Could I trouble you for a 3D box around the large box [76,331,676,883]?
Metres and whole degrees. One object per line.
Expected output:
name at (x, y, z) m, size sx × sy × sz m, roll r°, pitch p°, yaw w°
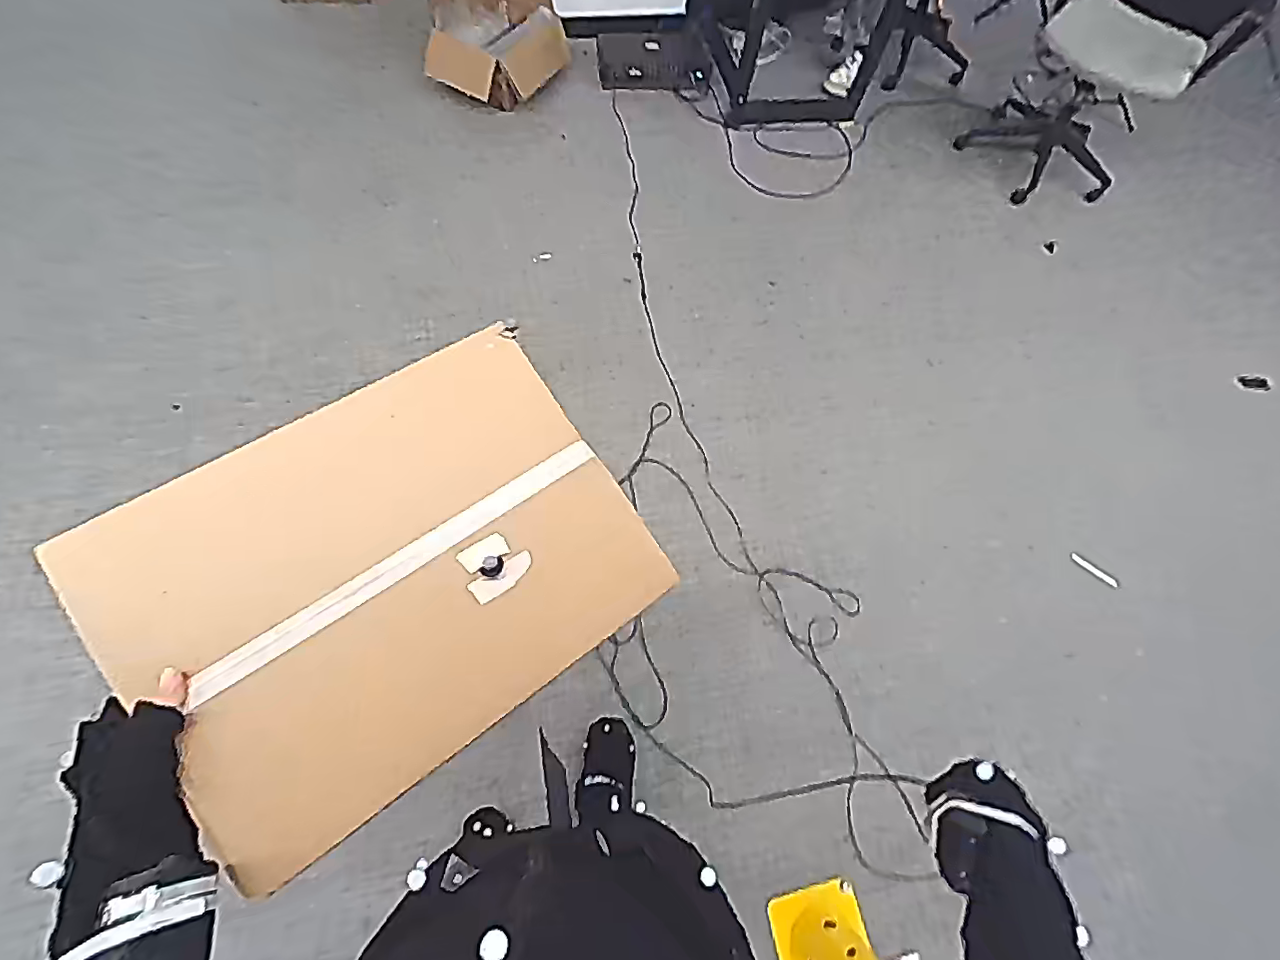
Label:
large box at (-0.237, 0.112, 0.613) m, size 0.408 × 0.320 × 0.320 m, roll -33°, pitch 86°, yaw -19°
